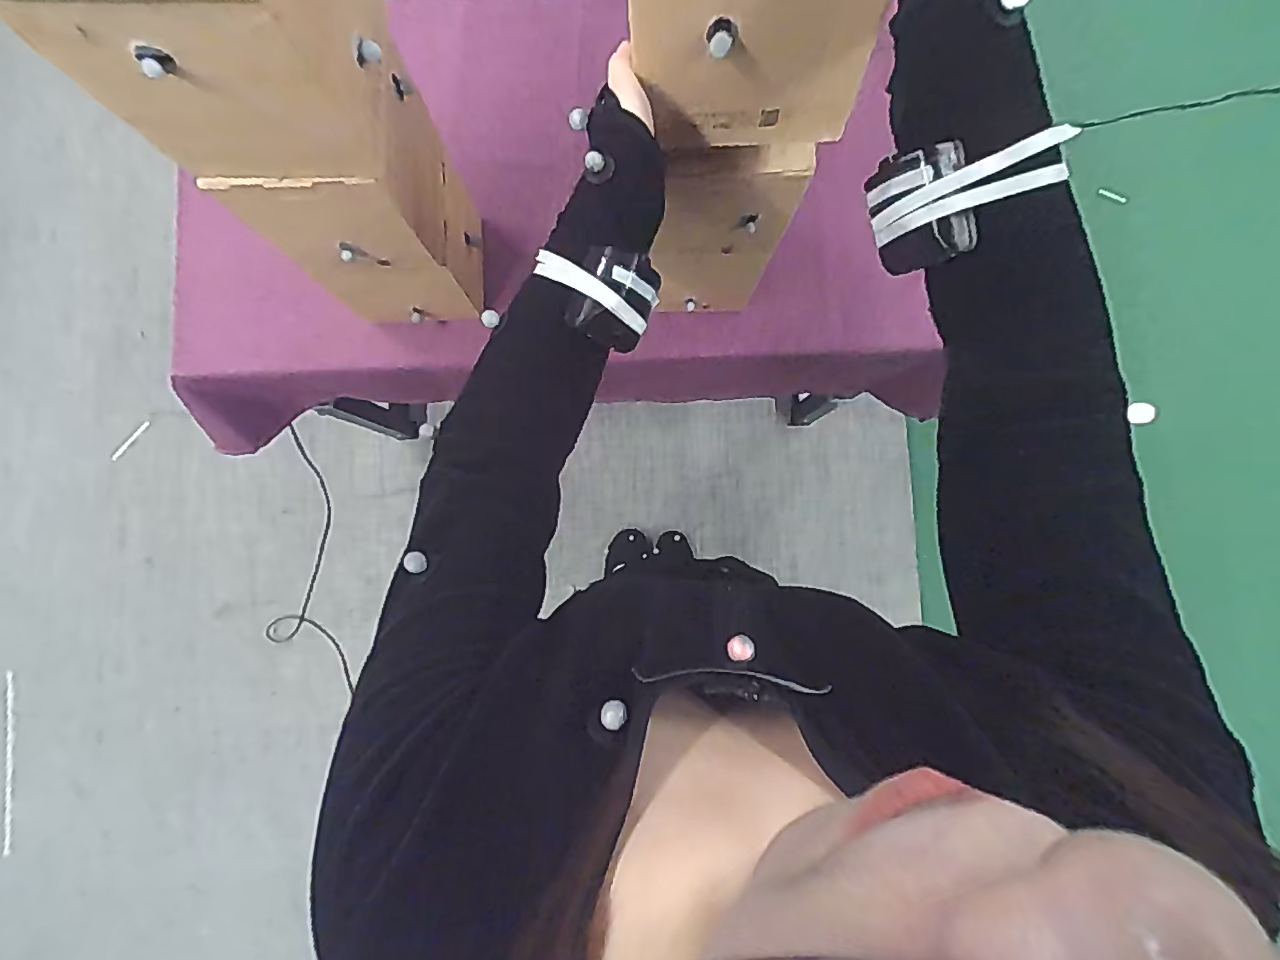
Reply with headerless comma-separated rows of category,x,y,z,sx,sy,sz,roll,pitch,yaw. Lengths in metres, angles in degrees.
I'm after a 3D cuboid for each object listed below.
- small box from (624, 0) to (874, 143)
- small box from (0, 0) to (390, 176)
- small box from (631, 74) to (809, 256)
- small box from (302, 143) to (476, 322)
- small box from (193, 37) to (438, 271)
small box,0.074,-0.376,0.393,0.168,0.176,0.179,-1,76,3
small box,-0.319,-0.362,0.416,0.179,0.176,0.168,0,85,-2
small box,0.074,-0.361,0.589,0.168,0.176,0.179,-2,85,-1
small box,-0.330,-0.329,0.744,0.179,0.176,0.168,-4,85,-2
small box,-0.328,-0.347,0.580,0.168,0.176,0.179,-2,86,-1
